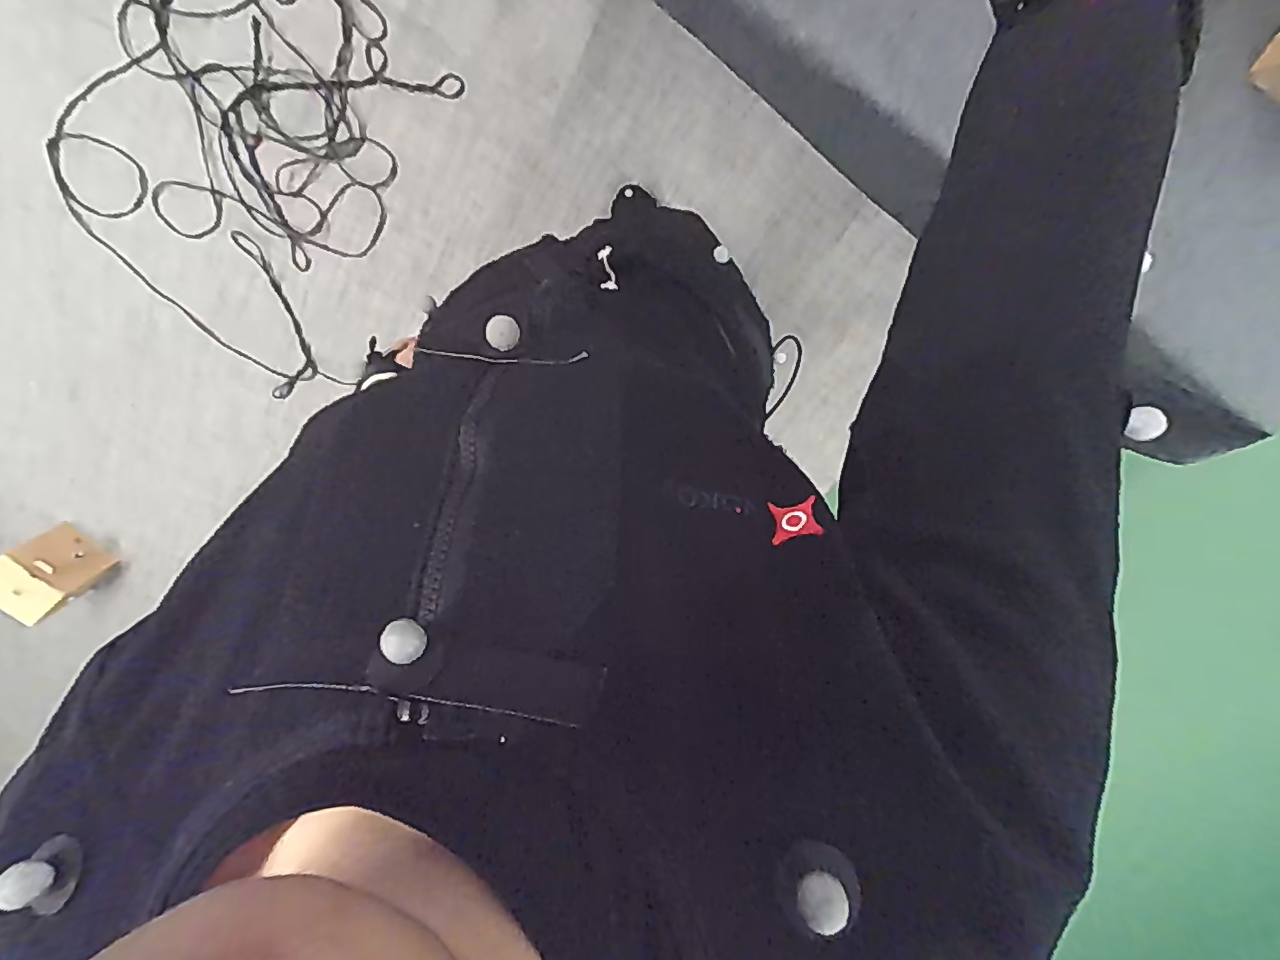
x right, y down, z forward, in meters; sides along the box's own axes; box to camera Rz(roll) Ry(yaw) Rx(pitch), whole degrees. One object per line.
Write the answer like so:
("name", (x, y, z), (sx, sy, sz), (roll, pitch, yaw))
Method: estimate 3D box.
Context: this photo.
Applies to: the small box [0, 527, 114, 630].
("small box", (-1.604, 0.262, 1.464), (0.179, 0.176, 0.168), (-35, 109, 15))
